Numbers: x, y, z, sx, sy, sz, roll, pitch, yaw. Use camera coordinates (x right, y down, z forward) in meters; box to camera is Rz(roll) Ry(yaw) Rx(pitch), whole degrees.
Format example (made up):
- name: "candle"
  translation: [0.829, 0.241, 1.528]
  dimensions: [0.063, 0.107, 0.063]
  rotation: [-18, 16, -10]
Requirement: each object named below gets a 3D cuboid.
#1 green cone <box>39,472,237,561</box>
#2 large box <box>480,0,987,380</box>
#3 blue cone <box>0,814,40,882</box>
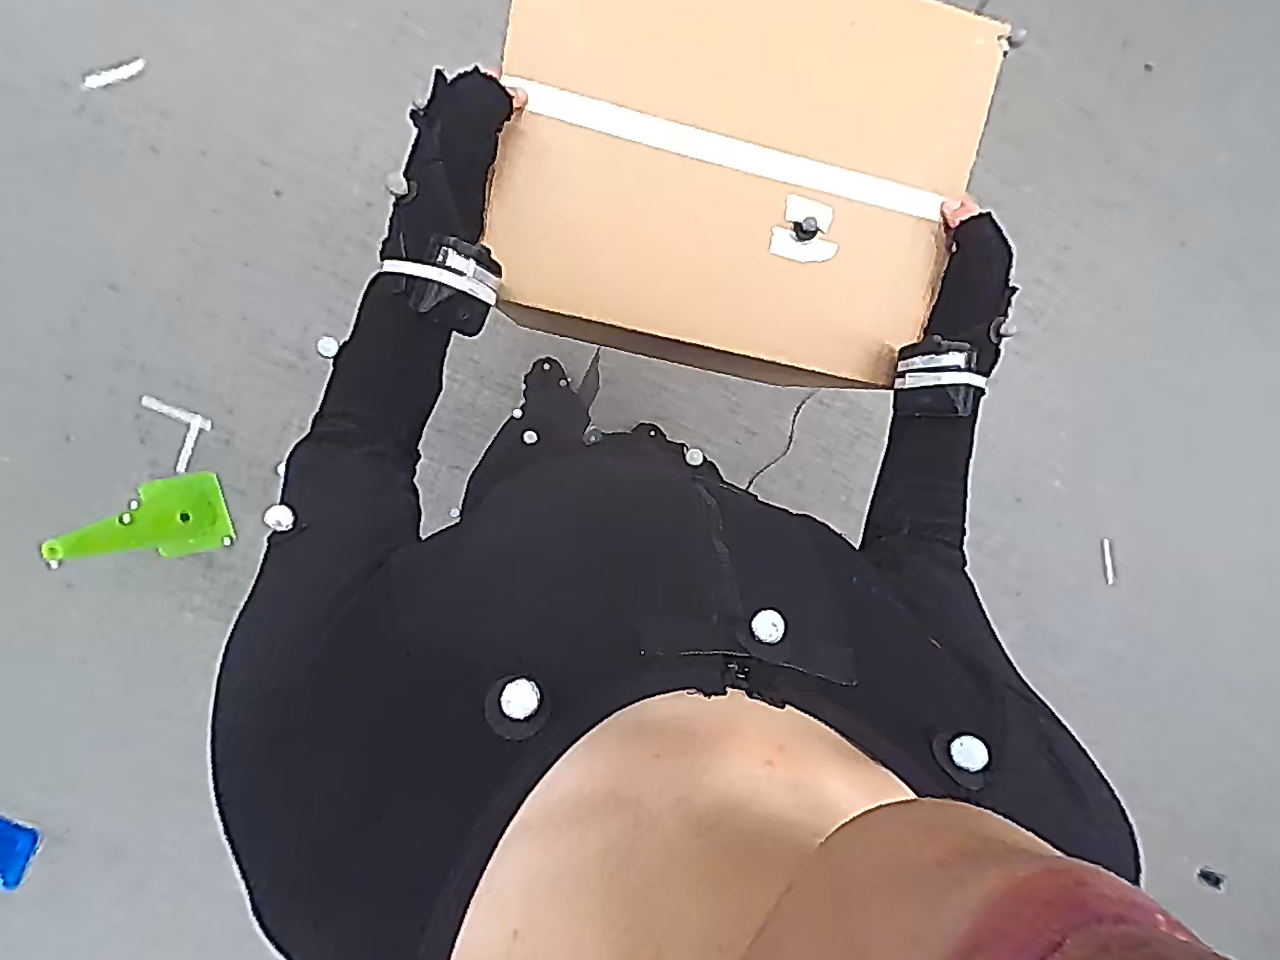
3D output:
- name: "green cone"
  translation: [-1.169, 0.111, 1.243]
  dimensions: [0.202, 0.368, 0.200]
  rotation: [-12, 98, 0]
- name: "large box"
  translation: [0.064, -0.302, 0.606]
  dimensions: [0.408, 0.320, 0.320]
  rotation: [10, 99, -9]
- name: "blue cone"
  translation: [-1.794, 1.048, 1.356]
  dimensions: [0.192, 0.380, 0.193]
  rotation: [28, 95, -6]
